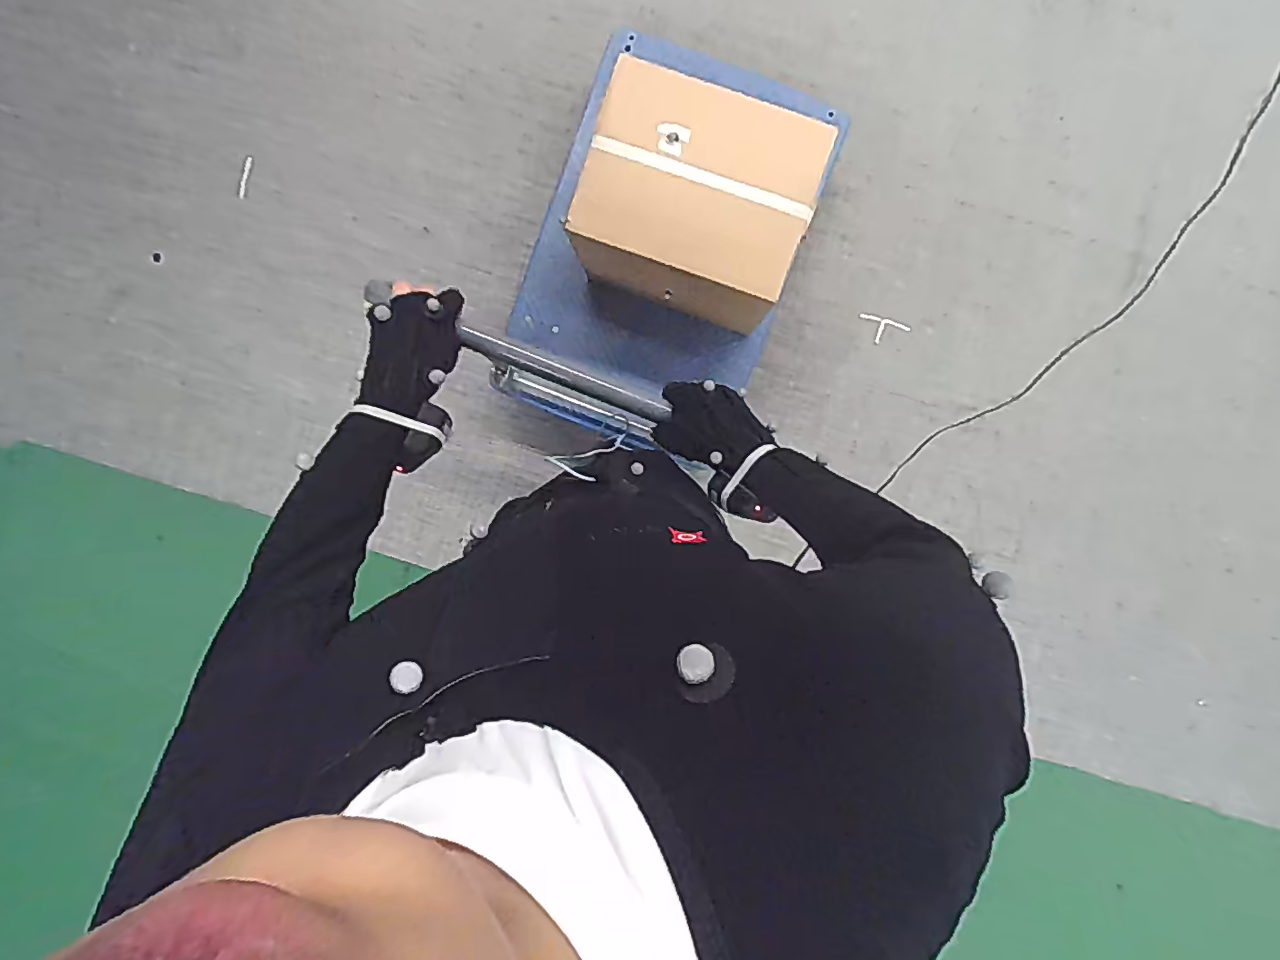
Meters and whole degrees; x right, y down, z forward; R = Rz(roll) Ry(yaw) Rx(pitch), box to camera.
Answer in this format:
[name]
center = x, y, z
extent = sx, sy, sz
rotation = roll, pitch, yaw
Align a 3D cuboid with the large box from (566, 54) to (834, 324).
[large box]
center = 0.113, -0.550, 1.097
extent = 0.408, 0.320, 0.320
rotation = 20, 95, 2
